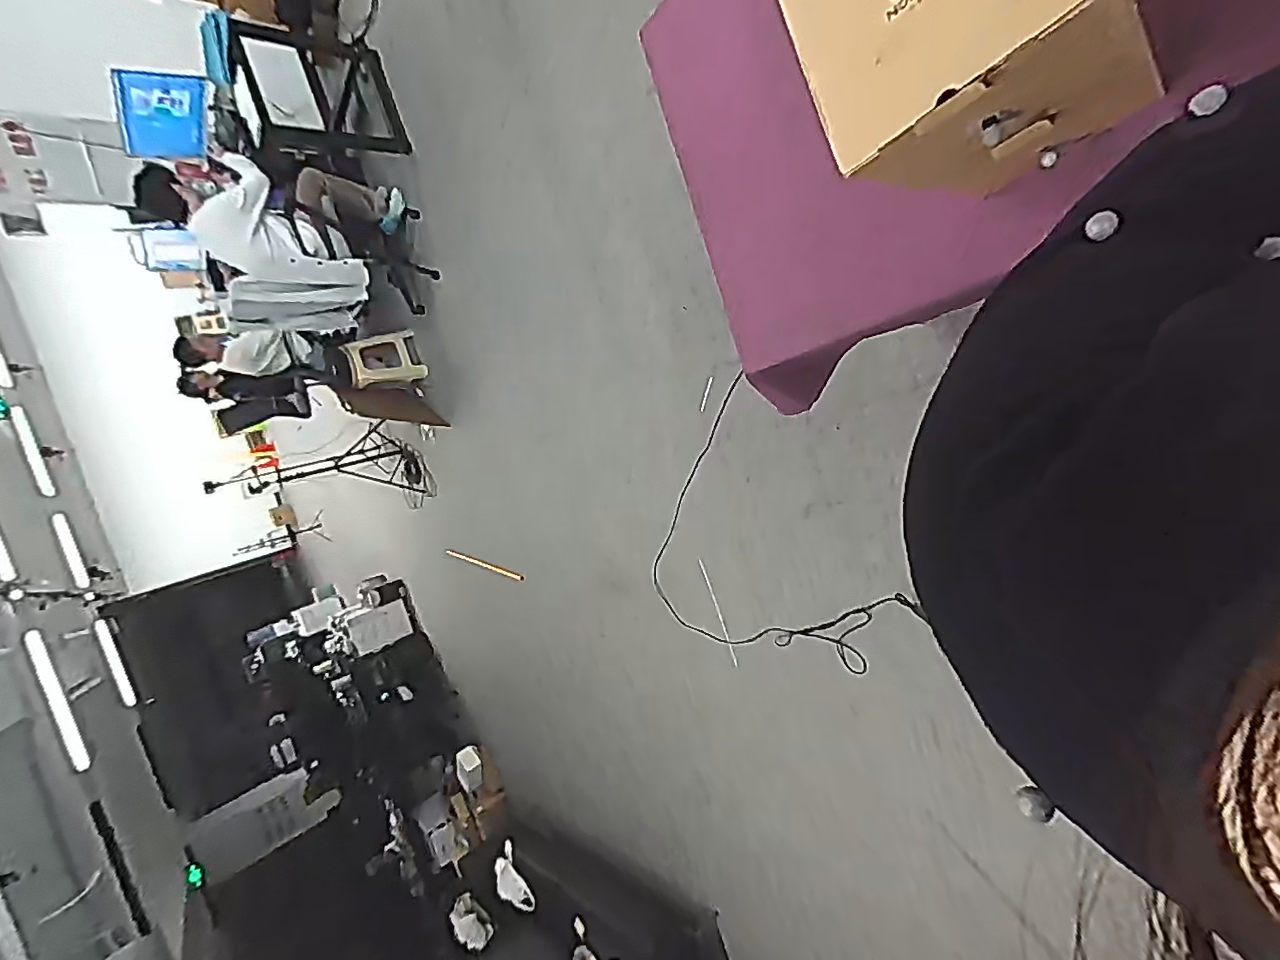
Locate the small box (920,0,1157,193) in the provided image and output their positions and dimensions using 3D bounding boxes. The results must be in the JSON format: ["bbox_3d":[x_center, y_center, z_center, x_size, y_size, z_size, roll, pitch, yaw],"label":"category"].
[{"bbox_3d":[0.365,-0.410,0.526,0.168,0.176,0.179,-16,92,51],"label":"small box"}]

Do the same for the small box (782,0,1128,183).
[{"bbox_3d":[0.245,-0.363,0.425,0.168,0.176,0.179,-20,92,51],"label":"small box"}]
